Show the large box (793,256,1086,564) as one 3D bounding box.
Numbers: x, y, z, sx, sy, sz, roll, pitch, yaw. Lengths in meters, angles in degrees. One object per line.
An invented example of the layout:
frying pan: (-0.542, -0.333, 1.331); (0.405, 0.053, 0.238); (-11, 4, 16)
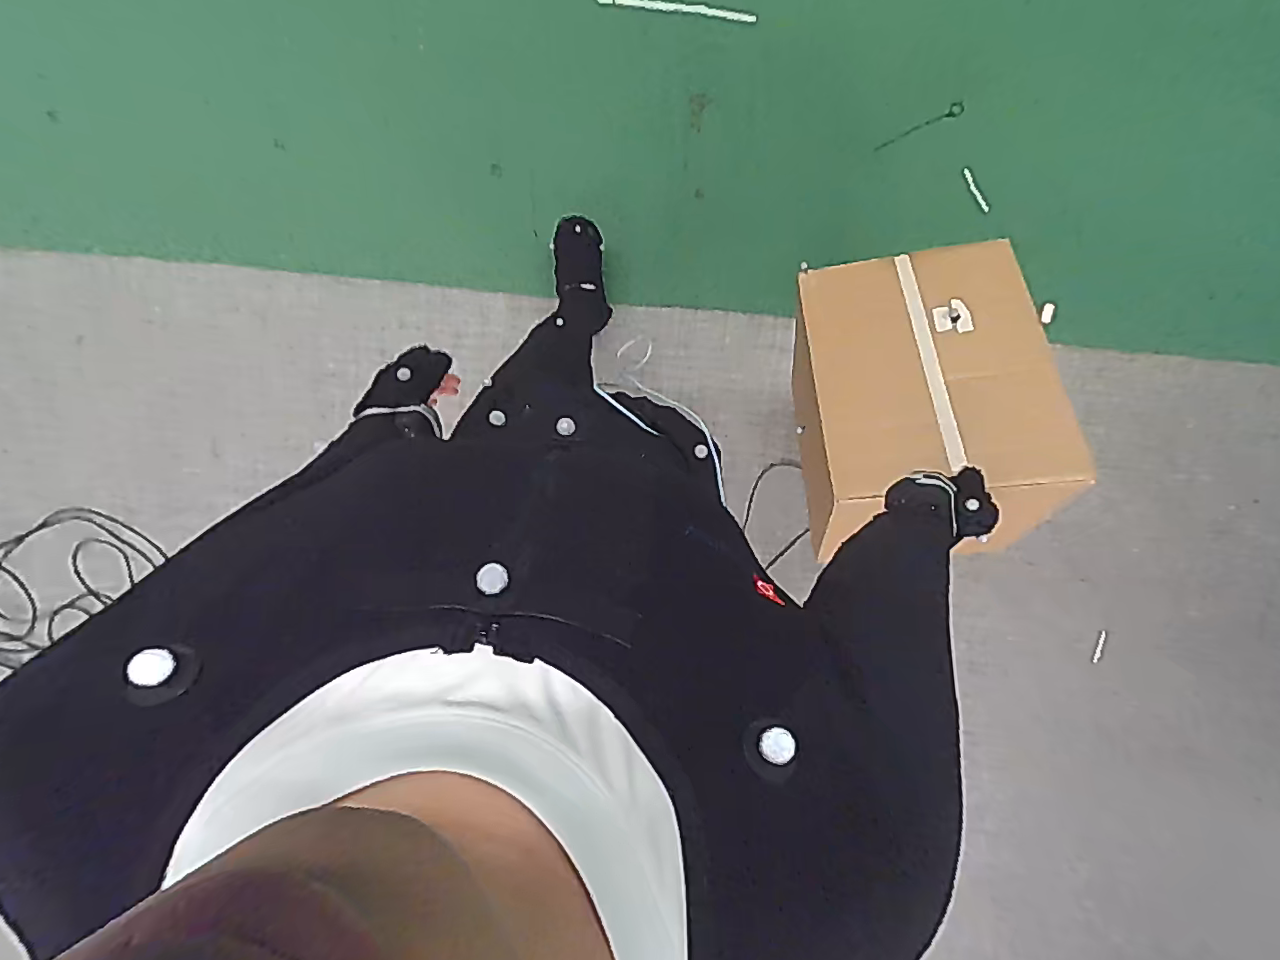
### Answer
large box: (0.446, -0.098, 0.924); (0.320, 0.320, 0.408); (-5, 64, 10)
